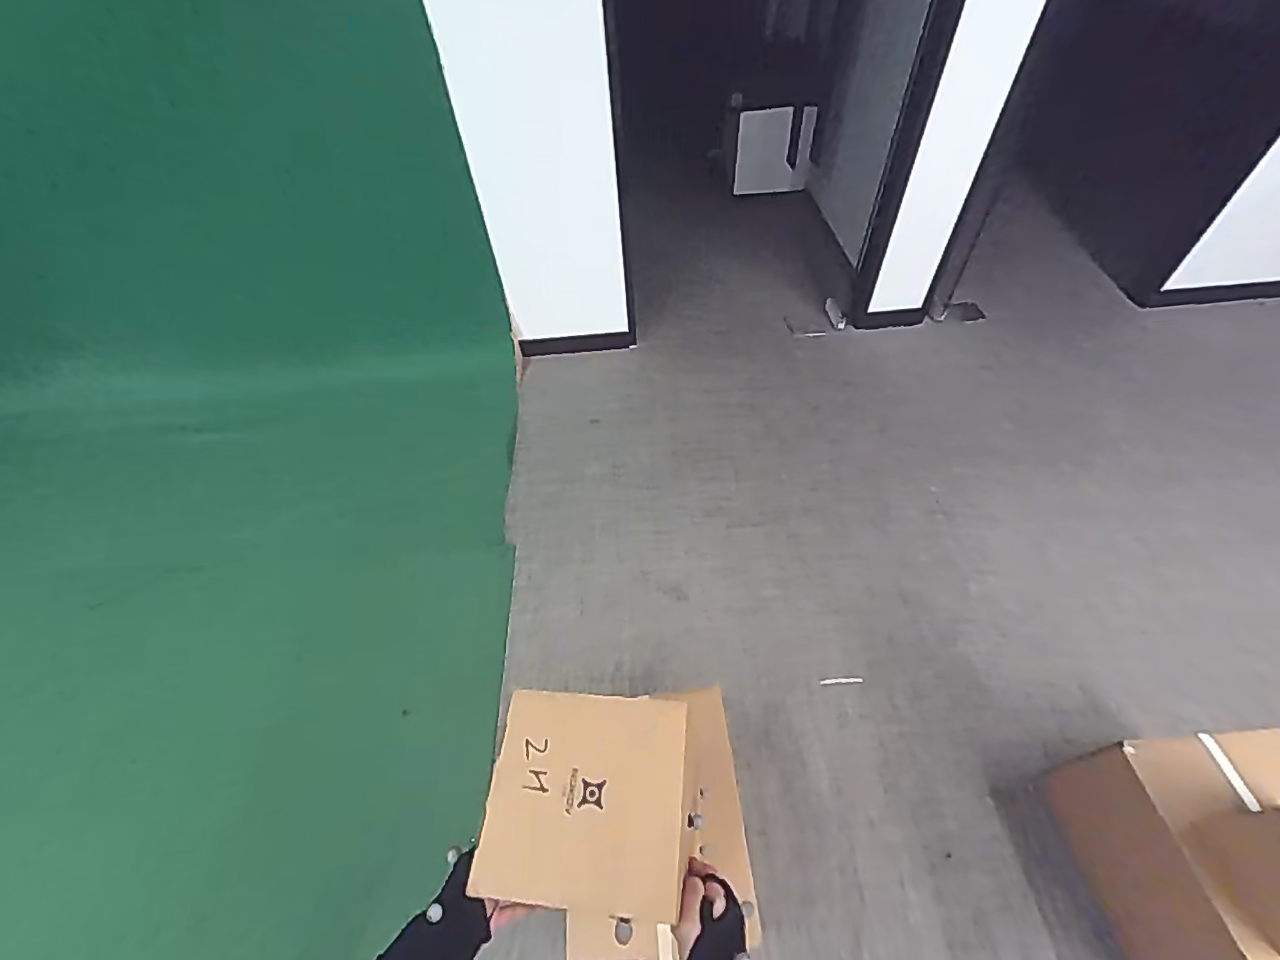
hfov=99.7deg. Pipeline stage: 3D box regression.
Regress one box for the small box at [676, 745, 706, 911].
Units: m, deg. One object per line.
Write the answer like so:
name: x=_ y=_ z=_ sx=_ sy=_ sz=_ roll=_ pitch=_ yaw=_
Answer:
small box: x=-0.001 y=0.465 z=0.742 sx=0.168 sy=0.176 sz=0.179 roll=4 pitch=53 yaw=10

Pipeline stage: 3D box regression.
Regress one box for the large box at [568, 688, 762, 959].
large box: x=0.036 y=0.686 z=1.085 sx=0.320 sy=0.320 sz=0.408 roll=-6 pitch=50 yaw=0

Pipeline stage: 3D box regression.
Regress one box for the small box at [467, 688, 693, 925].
small box: x=-0.040 y=0.326 z=0.545 sx=0.179 sy=0.176 sz=0.168 roll=2 pitch=52 yaw=10
